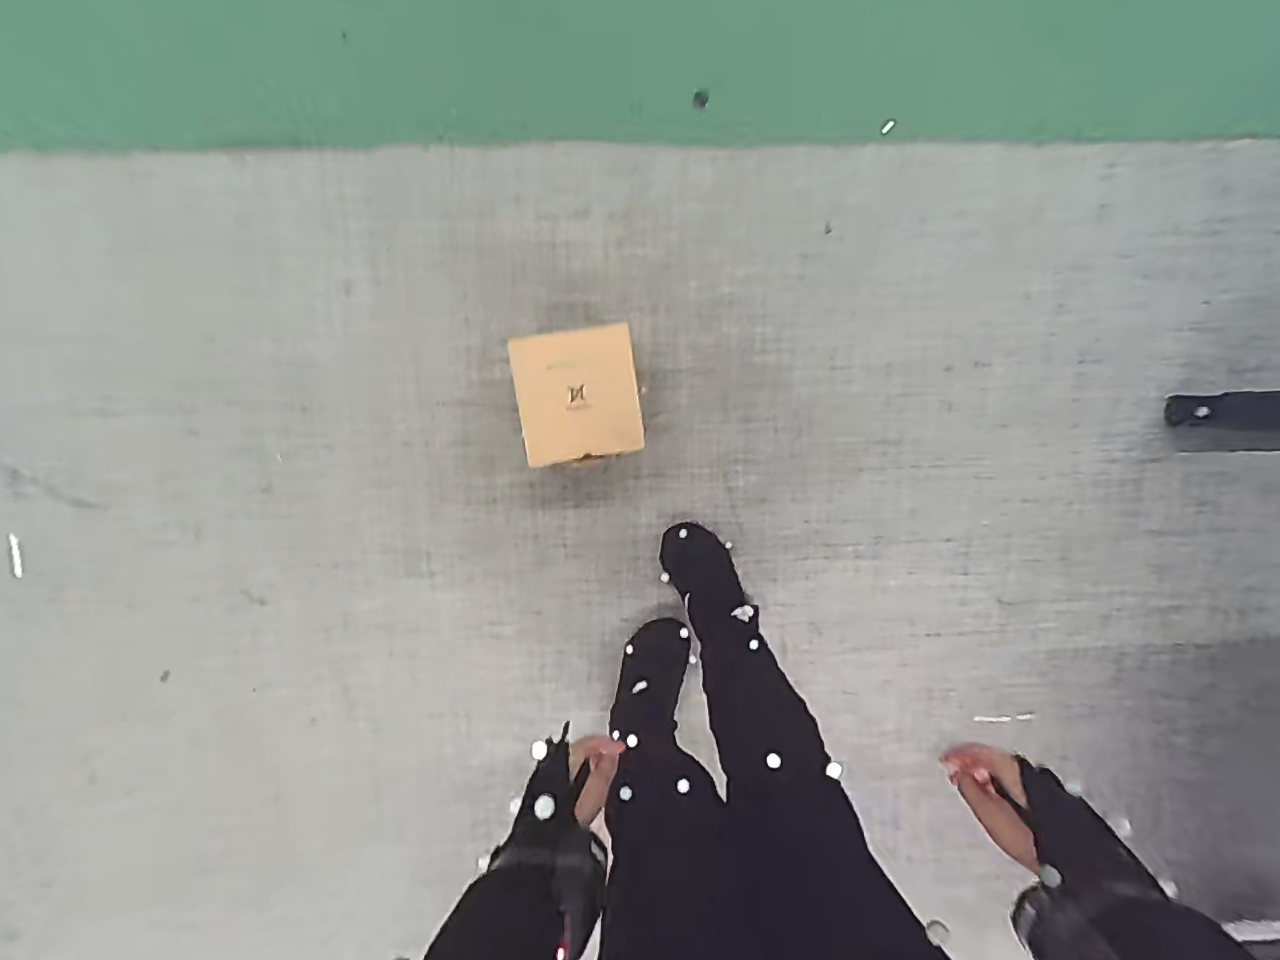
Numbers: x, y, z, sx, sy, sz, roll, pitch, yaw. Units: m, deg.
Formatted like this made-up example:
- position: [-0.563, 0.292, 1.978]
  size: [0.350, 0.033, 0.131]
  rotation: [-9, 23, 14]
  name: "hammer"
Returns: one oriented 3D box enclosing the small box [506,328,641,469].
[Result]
- position: [-0.093, -0.122, 0.820]
  size: [0.168, 0.176, 0.179]
  rotation: [-9, 97, -2]
  name: "small box"
